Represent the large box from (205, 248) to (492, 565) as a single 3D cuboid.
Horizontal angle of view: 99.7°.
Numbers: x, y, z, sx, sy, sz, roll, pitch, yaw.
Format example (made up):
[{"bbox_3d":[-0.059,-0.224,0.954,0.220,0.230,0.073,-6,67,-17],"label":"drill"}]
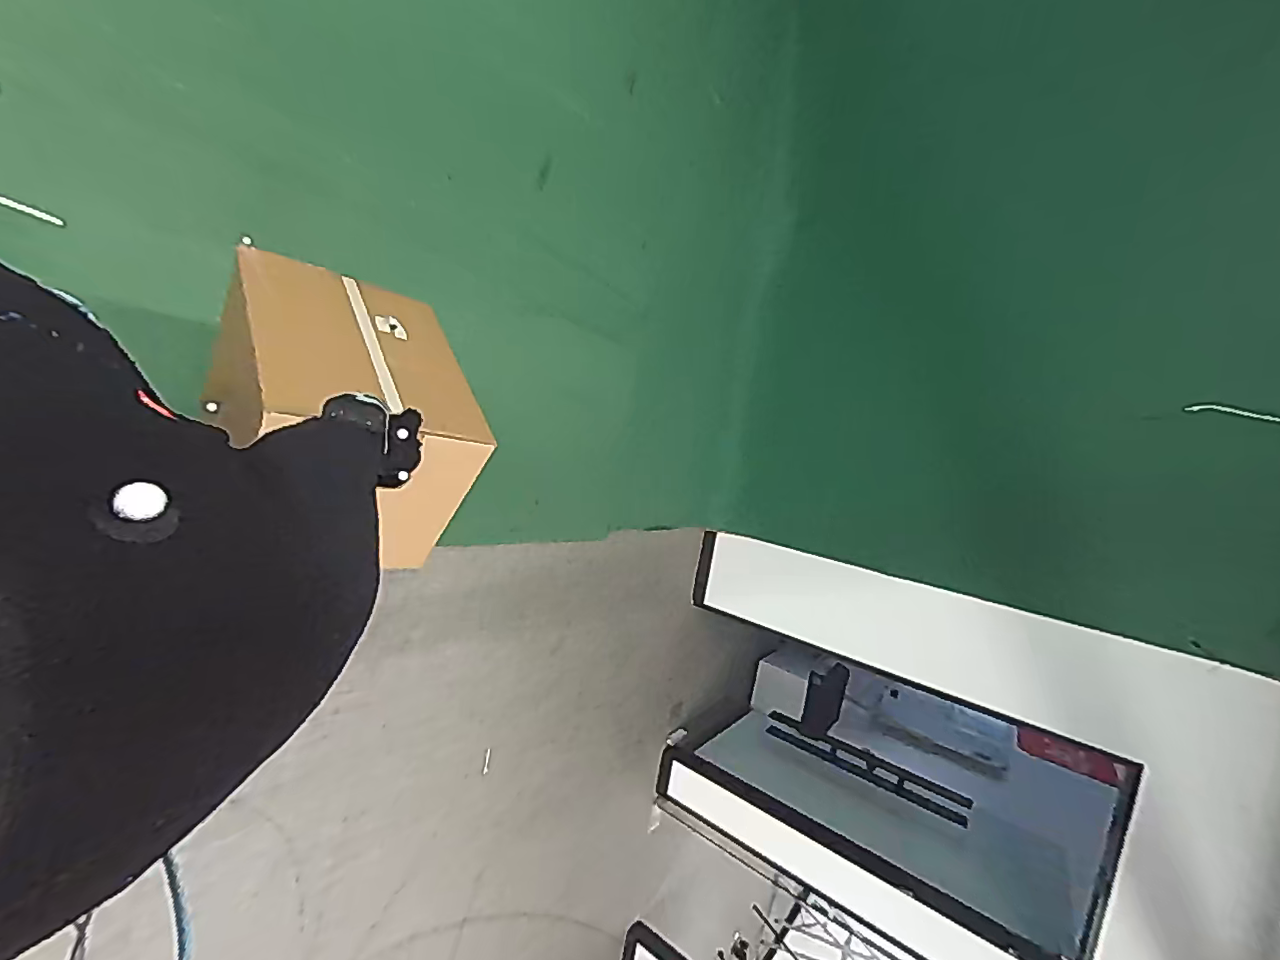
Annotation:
[{"bbox_3d":[-0.513,-0.109,0.922,0.320,0.408,0.320,7,130,-47],"label":"large box"}]
